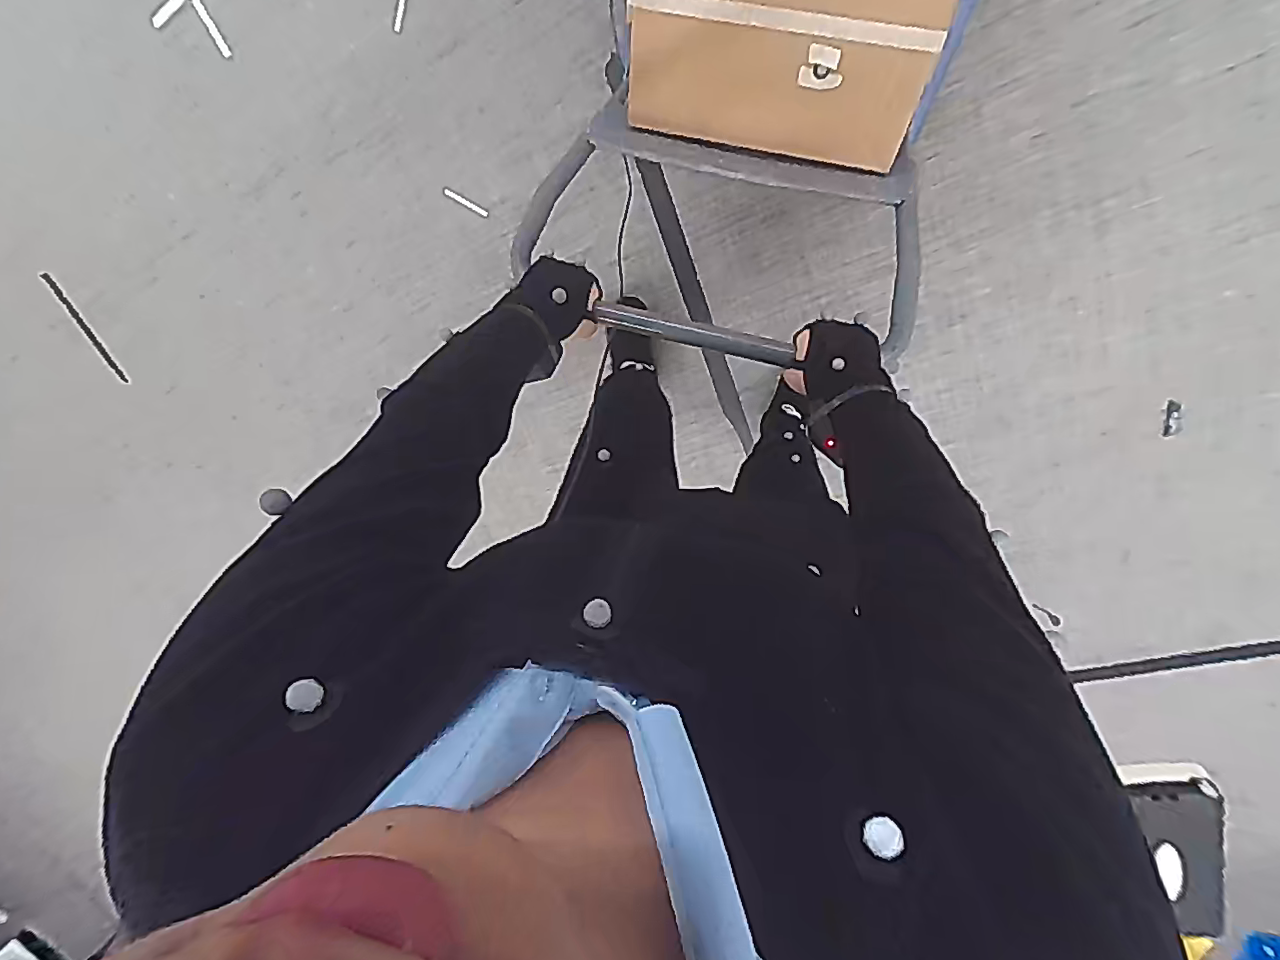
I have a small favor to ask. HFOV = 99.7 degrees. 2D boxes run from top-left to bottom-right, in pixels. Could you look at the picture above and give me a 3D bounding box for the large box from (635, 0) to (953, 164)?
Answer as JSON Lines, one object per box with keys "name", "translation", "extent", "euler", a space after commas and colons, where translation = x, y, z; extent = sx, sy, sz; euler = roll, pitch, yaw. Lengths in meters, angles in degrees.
{"name": "large box", "translation": [0.226, -0.720, 0.808], "extent": [0.408, 0.320, 0.320], "euler": [14, 141, 6]}
